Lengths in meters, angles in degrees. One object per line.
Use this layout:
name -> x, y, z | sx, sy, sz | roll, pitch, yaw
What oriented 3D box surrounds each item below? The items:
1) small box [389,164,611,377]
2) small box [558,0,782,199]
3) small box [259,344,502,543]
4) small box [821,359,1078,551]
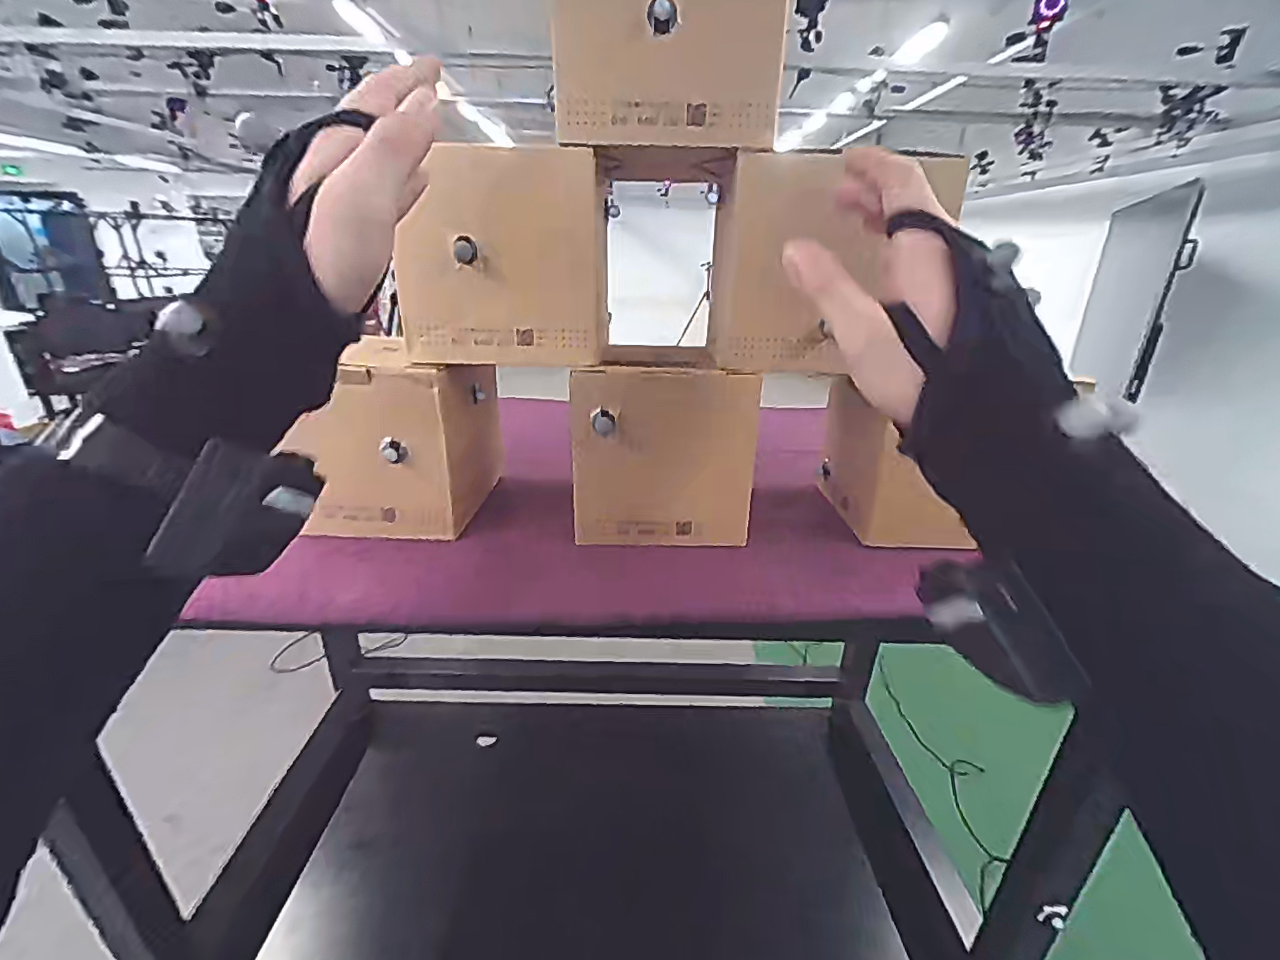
small box -> -0.115, -0.196, 0.525 | 0.168, 0.176, 0.179 | 0, 21, -1
small box -> 0.023, -0.349, 0.468 | 0.168, 0.176, 0.179 | 1, 21, -1
small box -> -0.247, -0.045, 0.569 | 0.168, 0.176, 0.179 | 3, 21, 0
small box -> 0.306, -0.033, 0.582 | 0.179, 0.176, 0.168 | 1, 21, -1
